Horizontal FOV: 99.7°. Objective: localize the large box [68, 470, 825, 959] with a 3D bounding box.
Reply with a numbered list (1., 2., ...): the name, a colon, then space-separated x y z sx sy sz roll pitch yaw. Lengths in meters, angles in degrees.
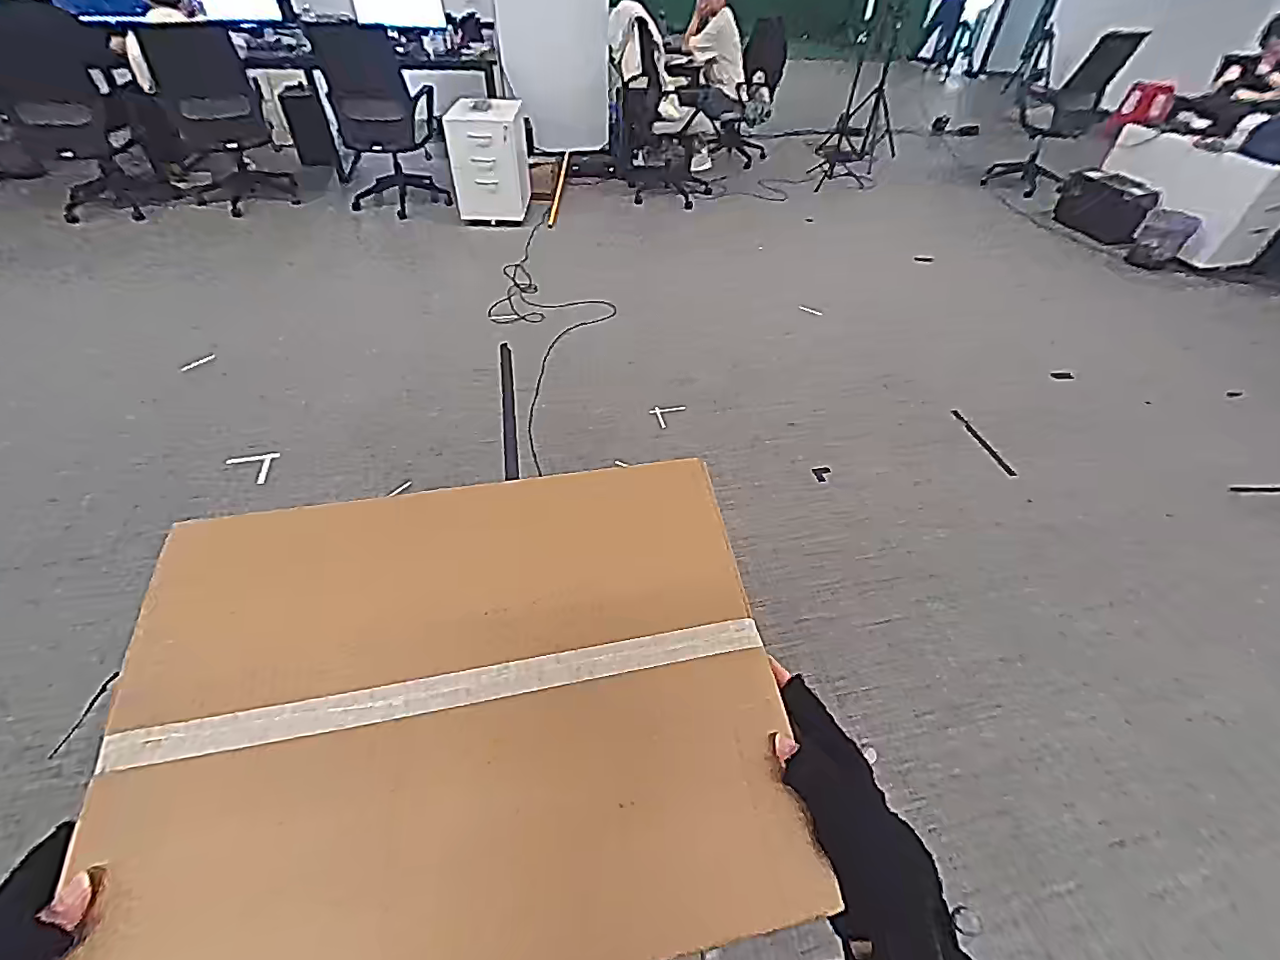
1. large box: -0.123 0.226 0.479 0.408 0.320 0.320 -8 57 -9
